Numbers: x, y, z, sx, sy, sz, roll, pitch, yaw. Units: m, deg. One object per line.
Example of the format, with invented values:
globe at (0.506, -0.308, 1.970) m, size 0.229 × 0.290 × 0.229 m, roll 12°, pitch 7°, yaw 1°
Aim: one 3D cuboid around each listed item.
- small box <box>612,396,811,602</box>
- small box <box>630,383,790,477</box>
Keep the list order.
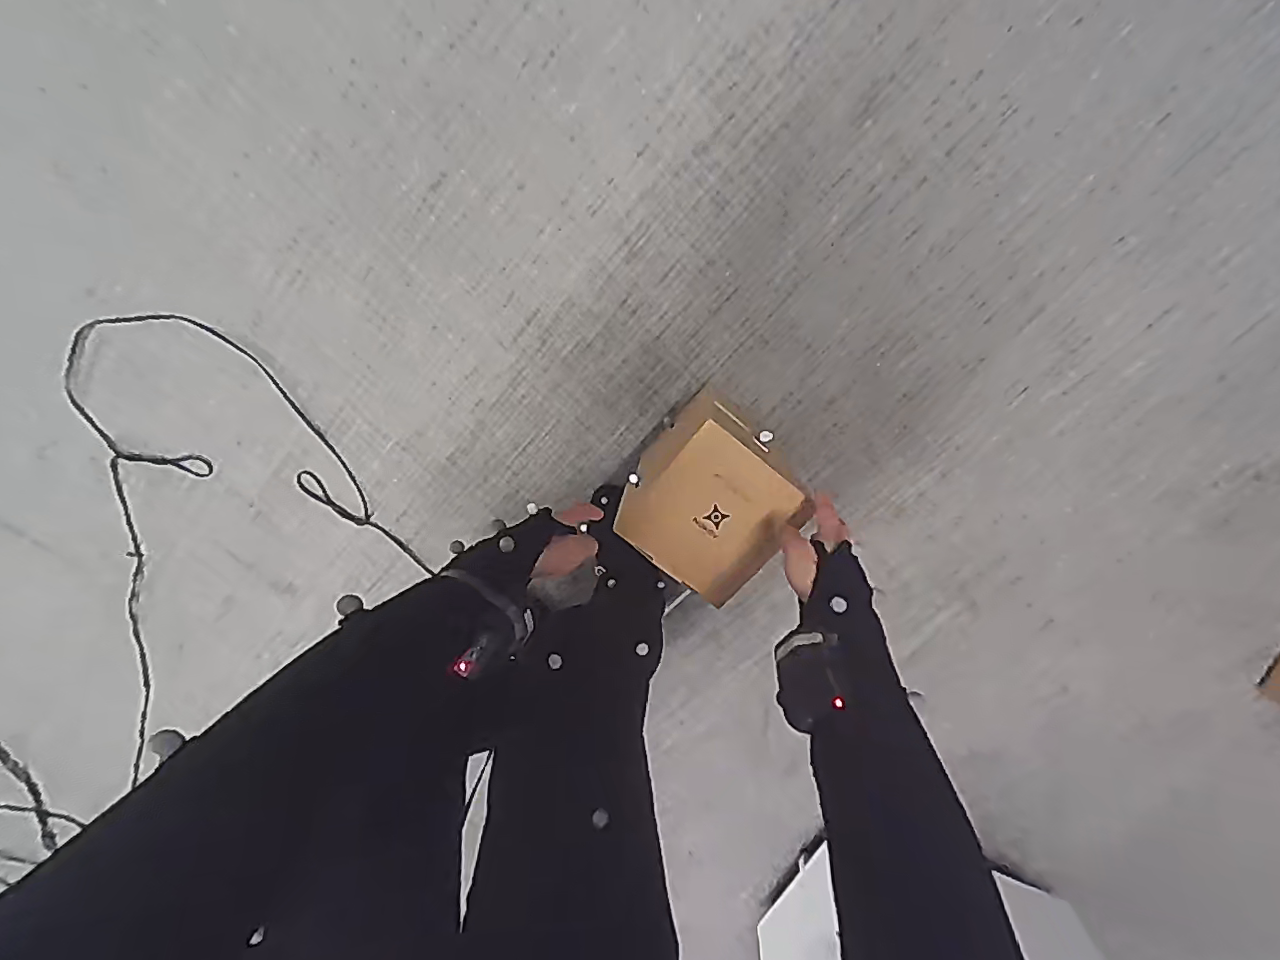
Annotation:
small box at (0.087, 0.016, 0.701) m, size 0.168 × 0.176 × 0.179 m, roll 37°, pitch 106°, yaw -9°
small box at (0.107, -0.030, 0.856) m, size 0.168 × 0.176 × 0.179 m, roll 40°, pitch 107°, yaw -9°
